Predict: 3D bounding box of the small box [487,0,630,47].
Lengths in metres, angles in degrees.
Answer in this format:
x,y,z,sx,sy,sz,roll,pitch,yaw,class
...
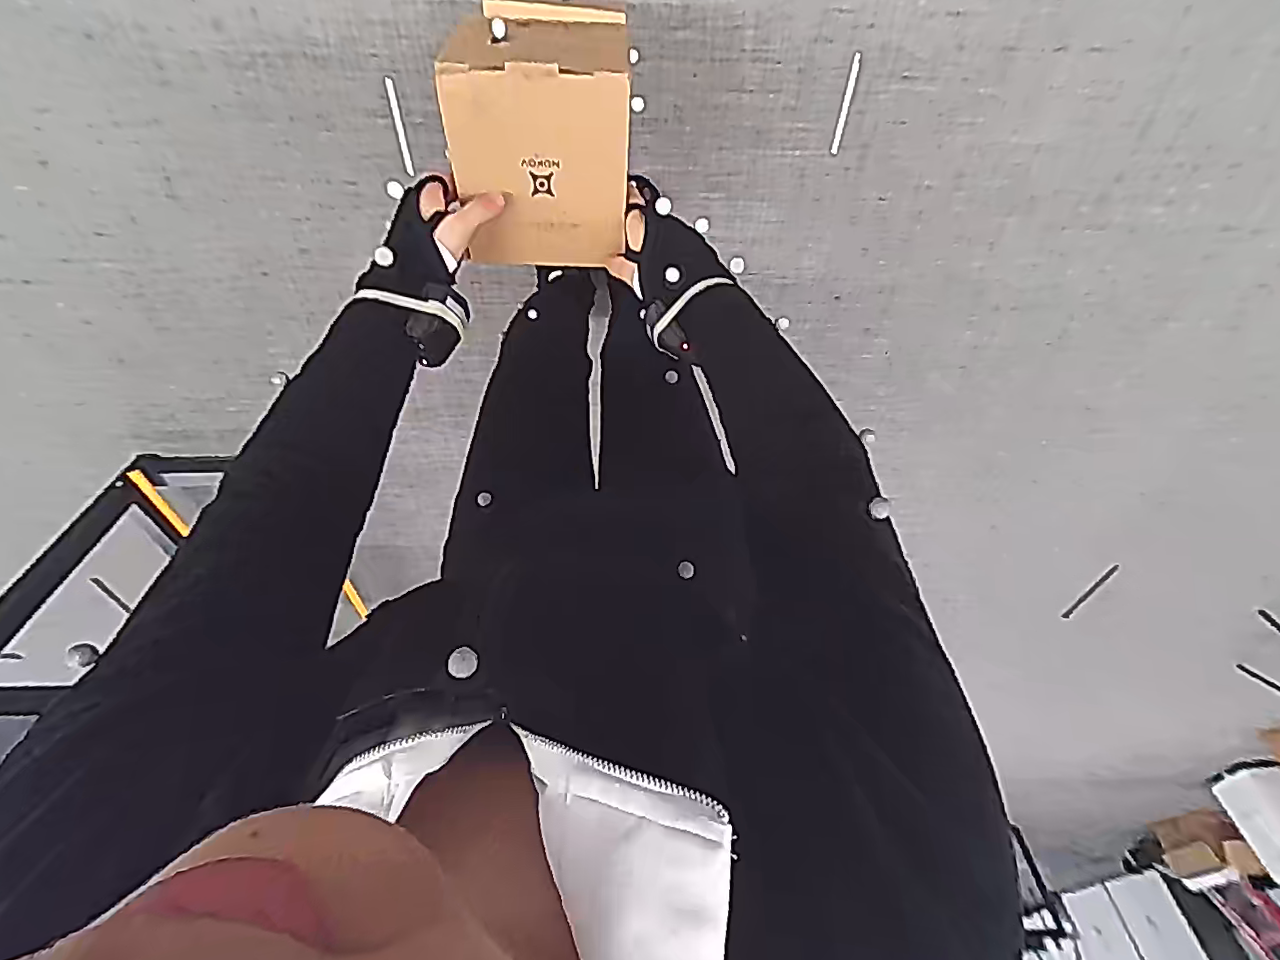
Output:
x,y,z,sx,sy,sz,roll,pitch,yaw,class
-0.104,-0.533,0.731,0.168,0.176,0.179,3,135,-5,small box

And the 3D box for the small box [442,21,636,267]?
x,y,z,sx,sy,sz,roll,pitch,yaw,class
-0.093,-0.350,0.566,0.168,0.176,0.179,1,142,-3,small box
